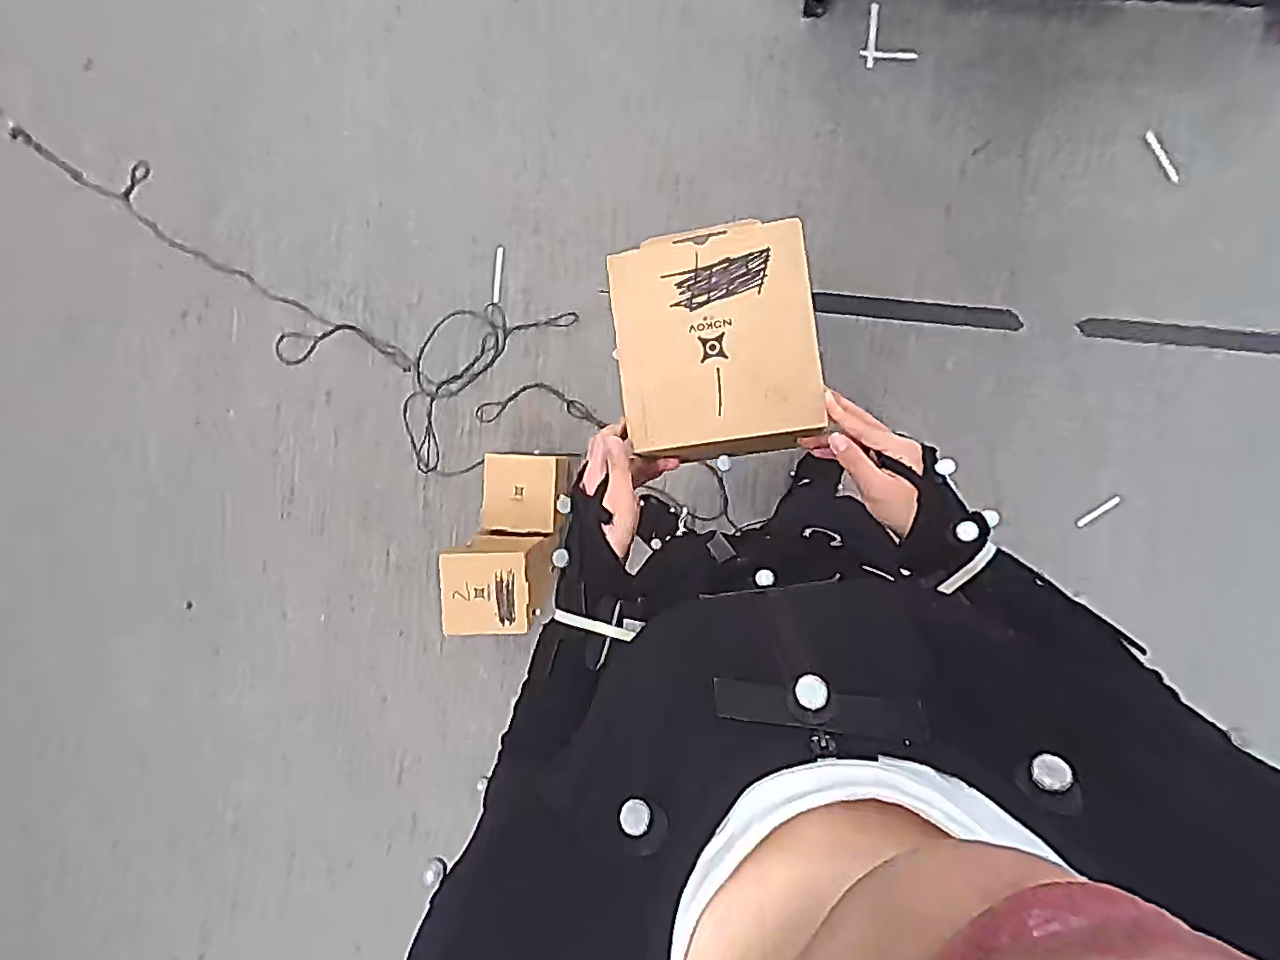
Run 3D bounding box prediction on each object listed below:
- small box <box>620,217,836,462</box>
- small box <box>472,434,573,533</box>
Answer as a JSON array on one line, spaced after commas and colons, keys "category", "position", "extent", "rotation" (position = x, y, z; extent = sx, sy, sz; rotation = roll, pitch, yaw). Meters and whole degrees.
[{"category": "small box", "position": [0.083, -0.118, 0.527], "extent": [0.168, 0.176, 0.179], "rotation": [-7, 87, 11]}, {"category": "small box", "position": [-0.264, 0.014, 1.233], "extent": [0.179, 0.176, 0.168], "rotation": [31, 79, -9]}]
